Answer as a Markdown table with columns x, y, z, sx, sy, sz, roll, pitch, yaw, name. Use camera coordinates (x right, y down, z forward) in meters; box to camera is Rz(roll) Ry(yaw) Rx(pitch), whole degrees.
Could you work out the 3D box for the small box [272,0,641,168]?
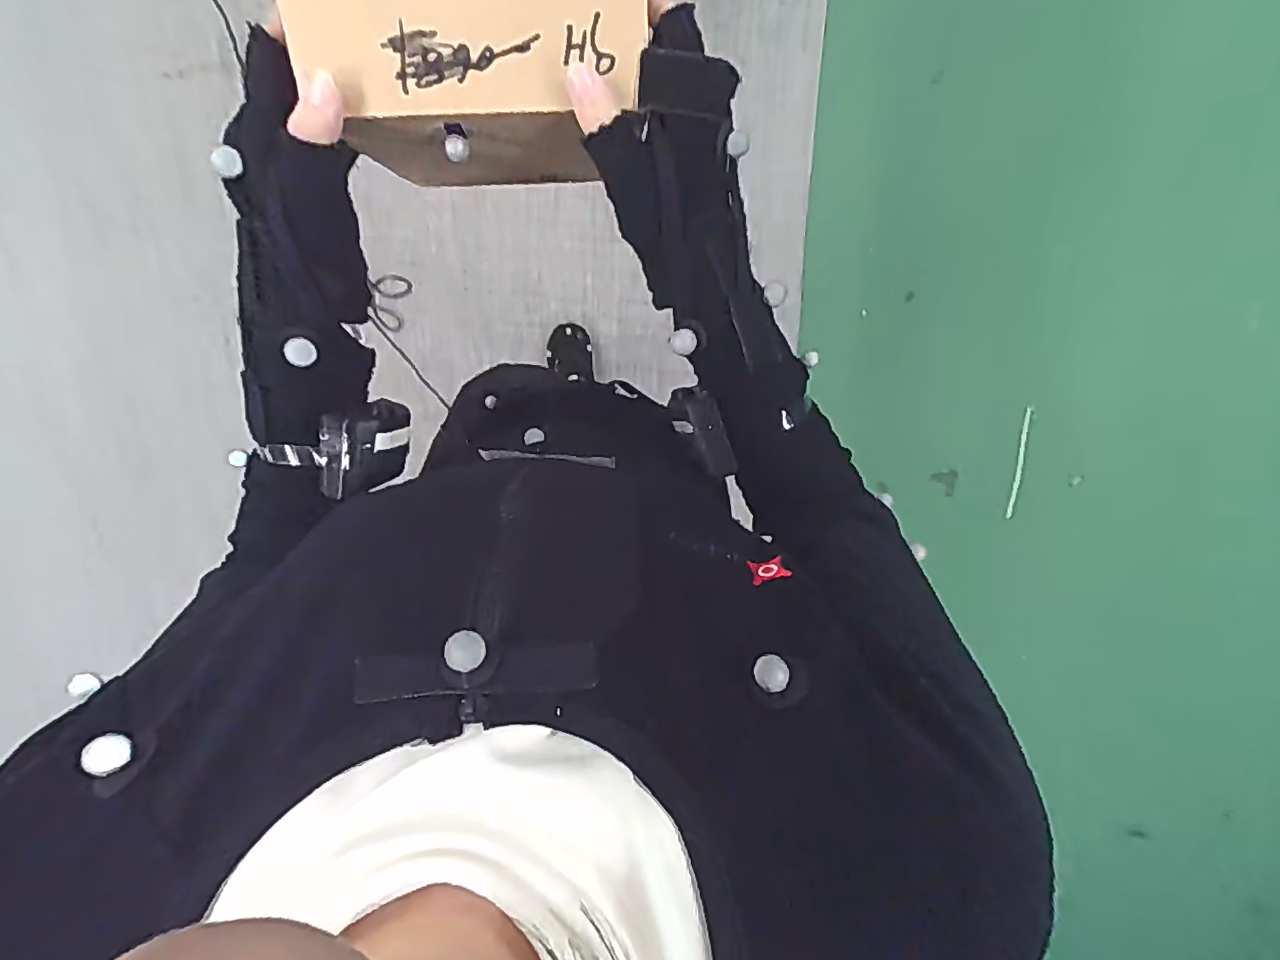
| x | y | z | sx | sy | sz | roll | pitch | yaw | name |
| --- | --- | --- | --- | --- | --- | --- | --- | --- | --- |
| -0.090 | -0.294 | 0.303 | 0.168 | 0.176 | 0.179 | -4 | 109 | -3 | small box |
